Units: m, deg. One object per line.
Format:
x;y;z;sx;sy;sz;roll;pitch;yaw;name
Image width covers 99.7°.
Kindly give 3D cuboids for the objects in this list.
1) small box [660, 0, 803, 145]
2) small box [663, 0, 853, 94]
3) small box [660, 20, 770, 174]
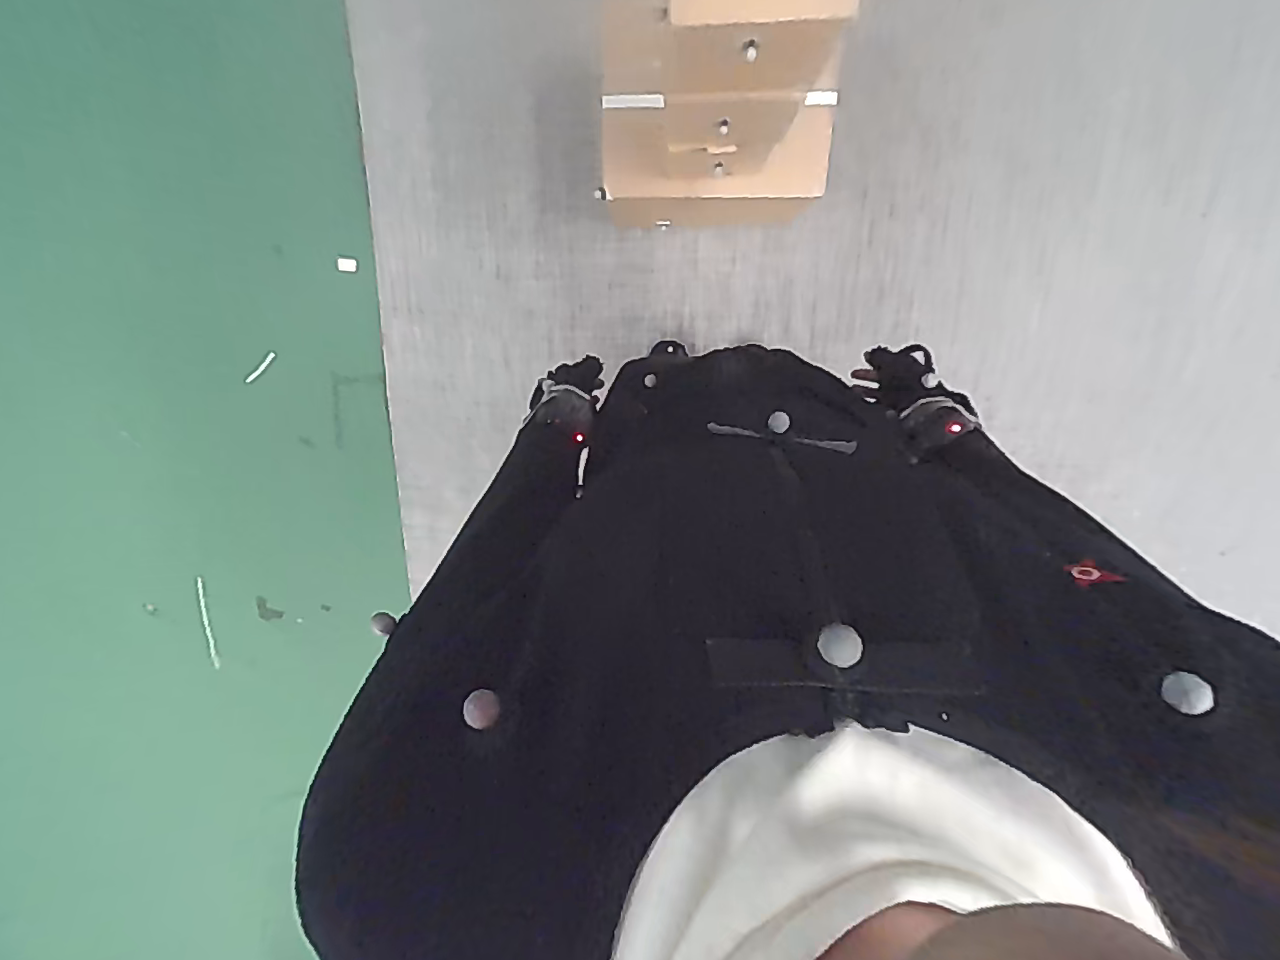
0.117;-0.564;0.718;0.179;0.176;0.168;2;106;4;small box
0.113;-0.526;0.561;0.179;0.176;0.168;-1;107;3;small box
0.120;-0.611;0.876;0.168;0.176;0.179;-2;107;4;small box
